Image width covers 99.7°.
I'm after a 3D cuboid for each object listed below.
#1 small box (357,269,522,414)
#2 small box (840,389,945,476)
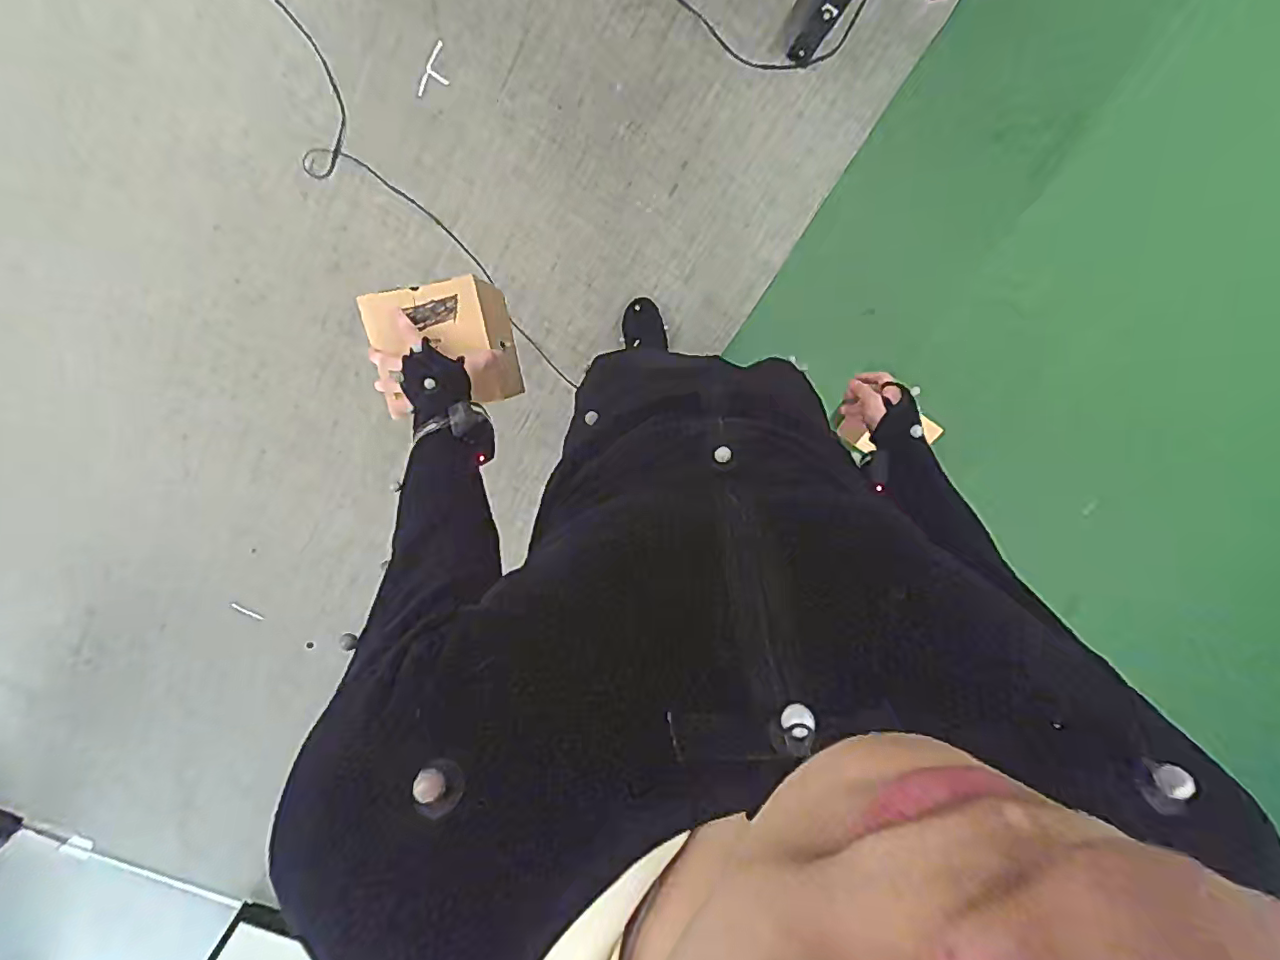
[{"bbox_3d":[-0.291,-0.206,0.825,0.168,0.176,0.179,-10,104,3],"label":"small box"},{"bbox_3d":[0.698,-0.141,1.520,0.179,0.176,0.168,31,107,-11],"label":"small box"}]
